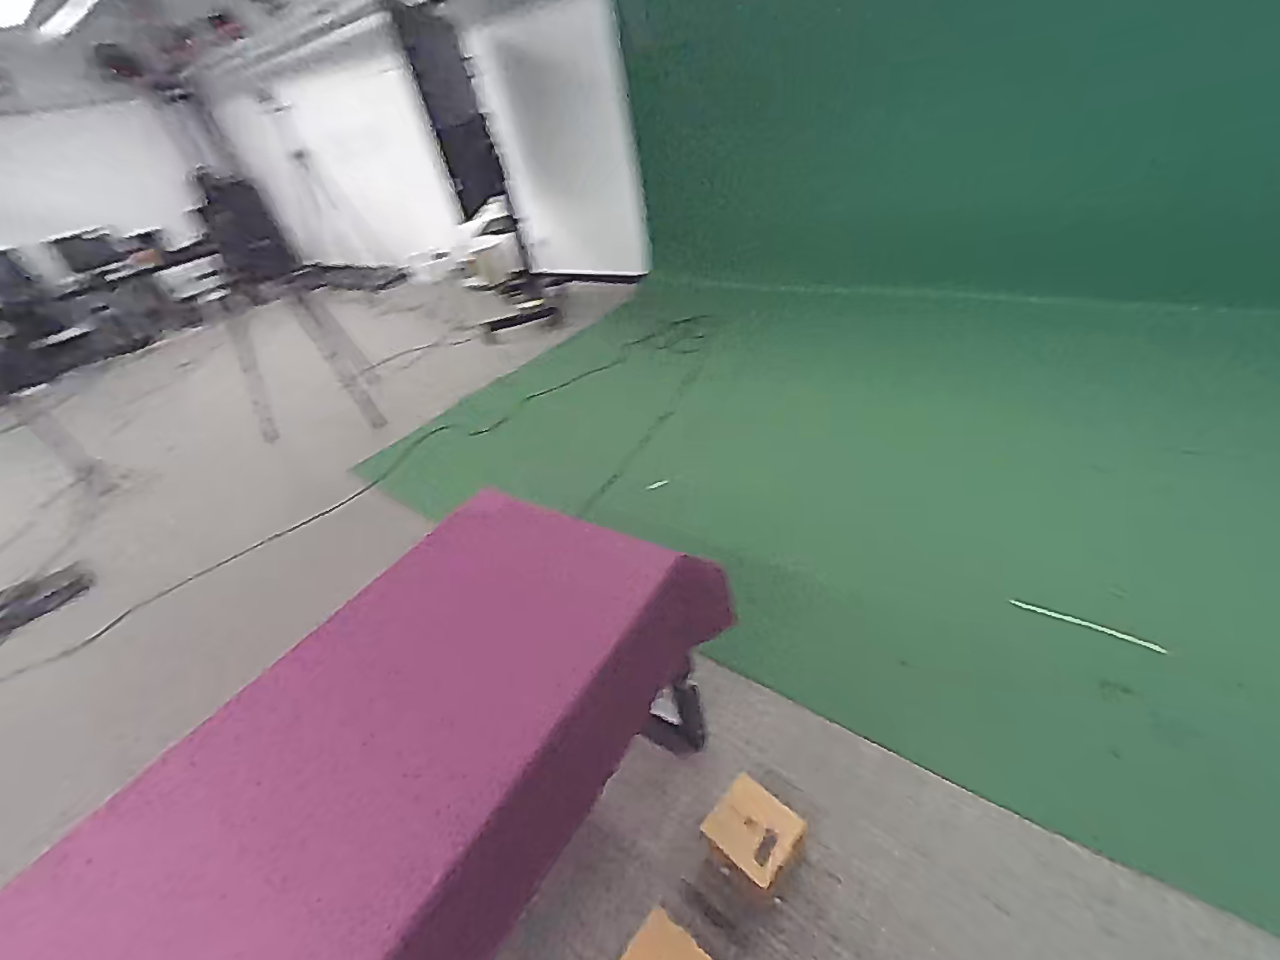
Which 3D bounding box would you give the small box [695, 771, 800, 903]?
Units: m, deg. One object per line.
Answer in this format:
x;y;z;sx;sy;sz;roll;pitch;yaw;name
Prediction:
0.252;0.830;1.251;0.179;0.176;0.168;24;49;40;small box
